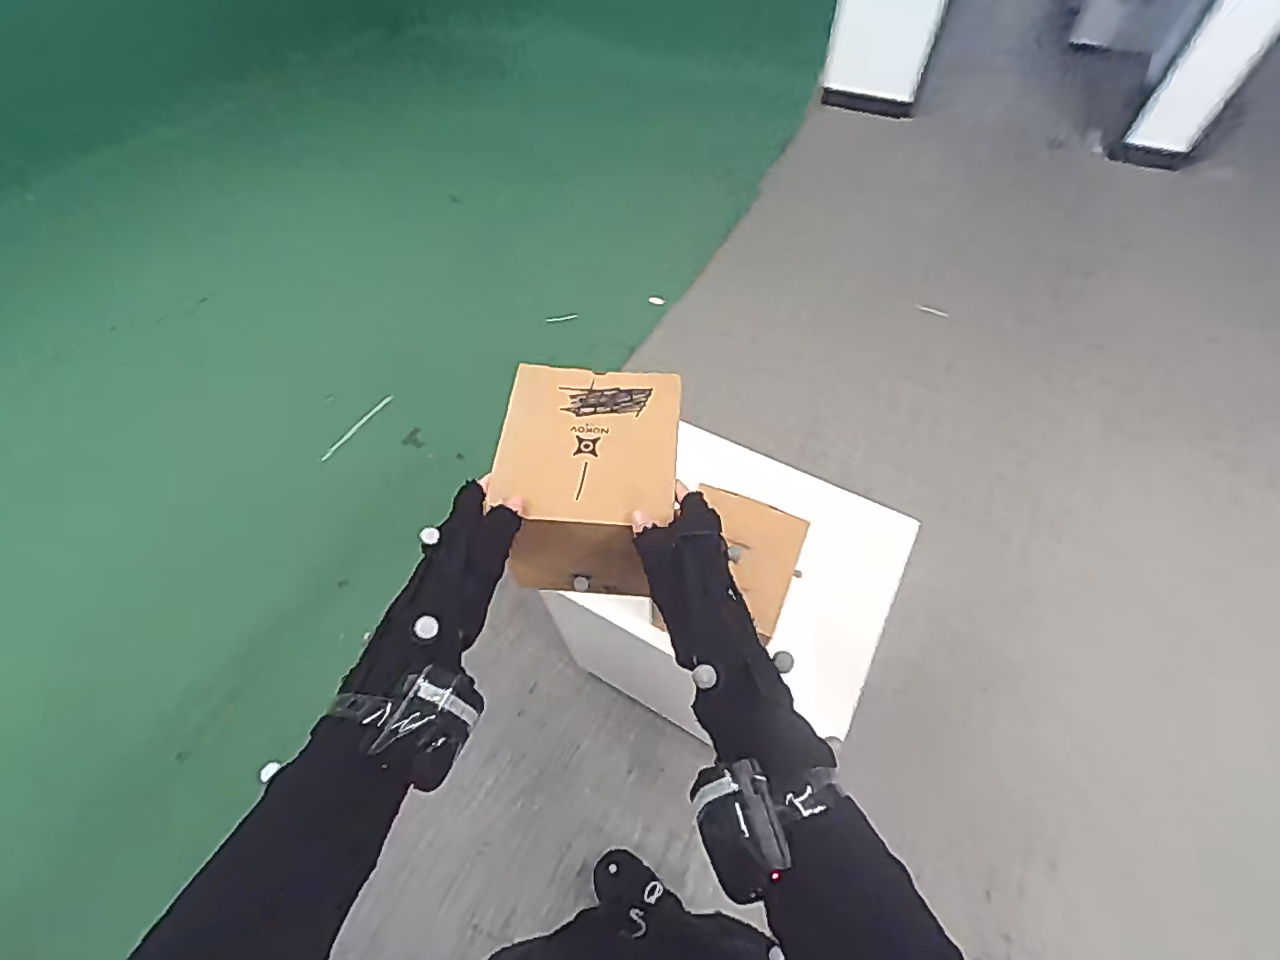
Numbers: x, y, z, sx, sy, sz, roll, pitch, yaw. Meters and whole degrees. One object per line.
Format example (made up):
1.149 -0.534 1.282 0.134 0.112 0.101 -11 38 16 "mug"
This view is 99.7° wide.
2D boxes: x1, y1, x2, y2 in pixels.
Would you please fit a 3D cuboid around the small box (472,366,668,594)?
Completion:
-0.057 0.003 0.560 0.168 0.176 0.179 0 57 1 "small box"

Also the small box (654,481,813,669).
0.125 0.137 0.761 0.168 0.176 0.179 20 61 16 "small box"
